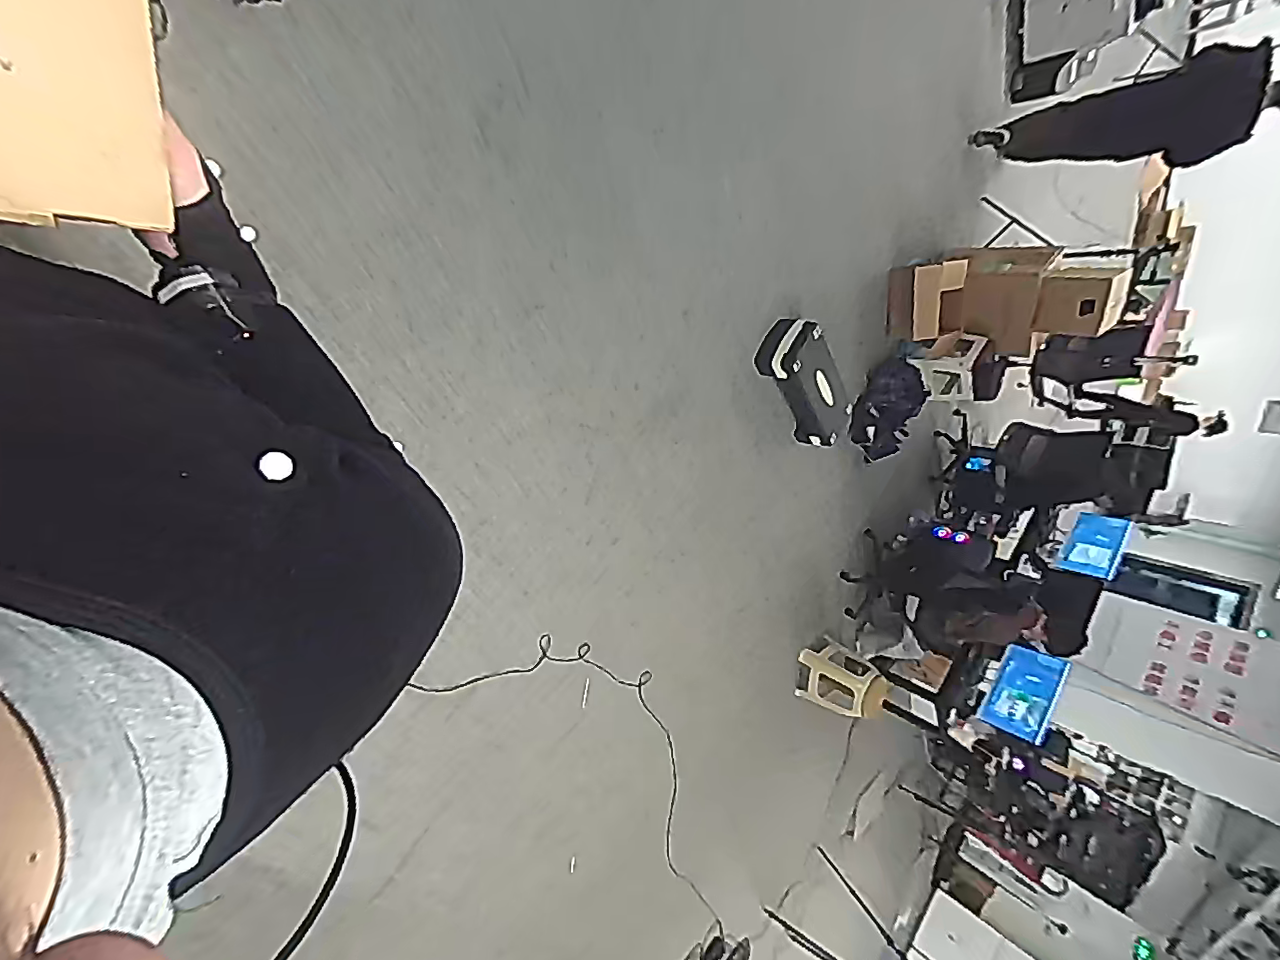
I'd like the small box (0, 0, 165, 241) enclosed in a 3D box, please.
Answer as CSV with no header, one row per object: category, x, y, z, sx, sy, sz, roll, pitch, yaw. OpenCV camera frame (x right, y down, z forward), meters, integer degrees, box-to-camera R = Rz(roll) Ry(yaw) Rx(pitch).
small box,-0.417,-0.259,0.319,0.168,0.176,0.179,-17,126,-50
